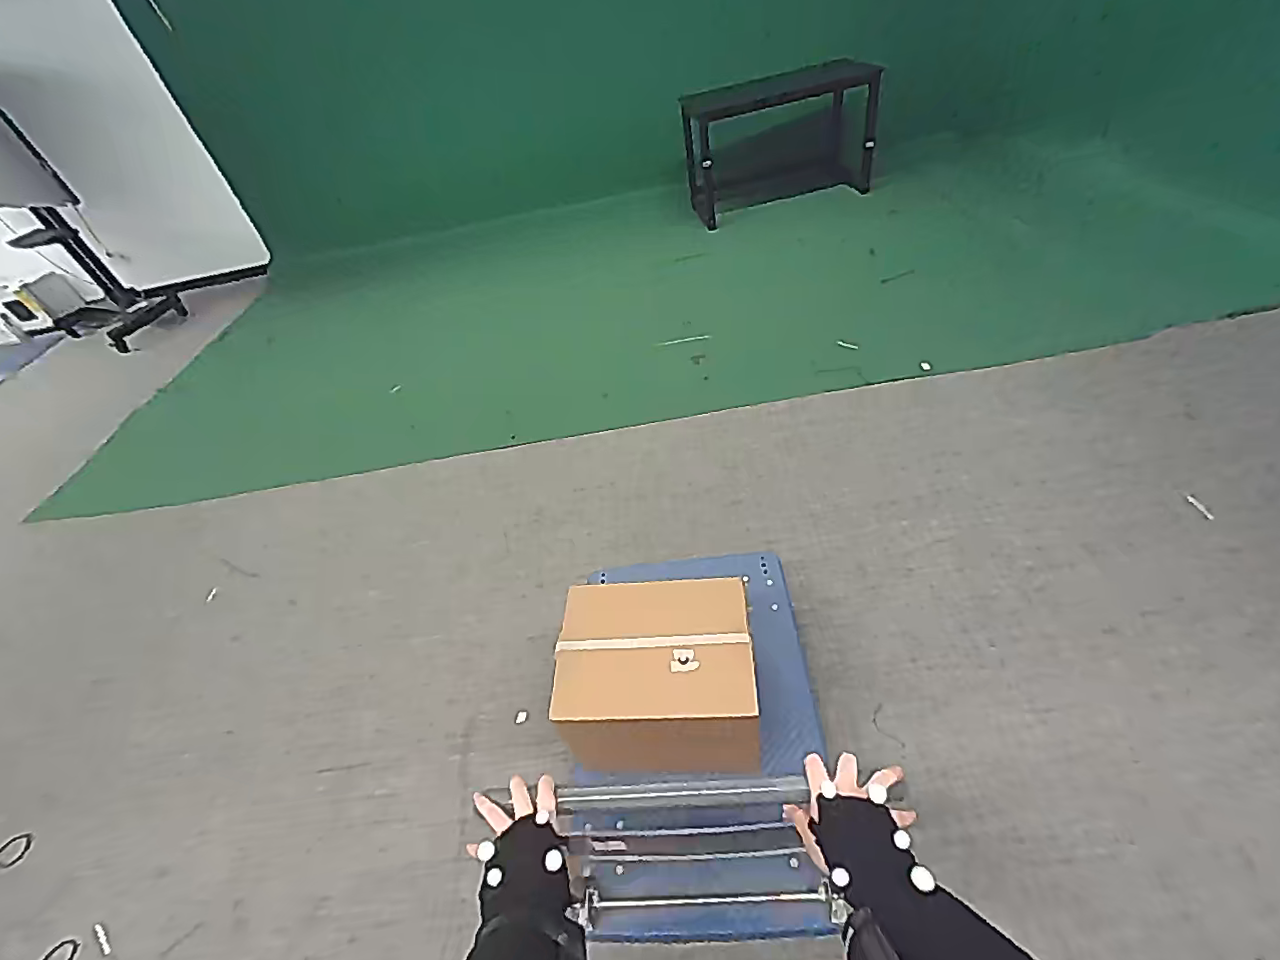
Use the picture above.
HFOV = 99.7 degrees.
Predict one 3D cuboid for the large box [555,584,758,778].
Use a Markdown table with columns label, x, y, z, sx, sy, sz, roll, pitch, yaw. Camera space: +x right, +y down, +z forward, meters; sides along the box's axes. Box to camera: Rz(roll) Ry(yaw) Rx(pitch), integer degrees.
| label | x | y | z | sx | sy | sz | roll | pitch | yaw |
| --- | --- | --- | --- | --- | --- | --- | --- | --- | --- |
| large box | 0.049 | 0.467 | 1.249 | 0.408 | 0.320 | 0.320 | -4 | 44 | 7 |
